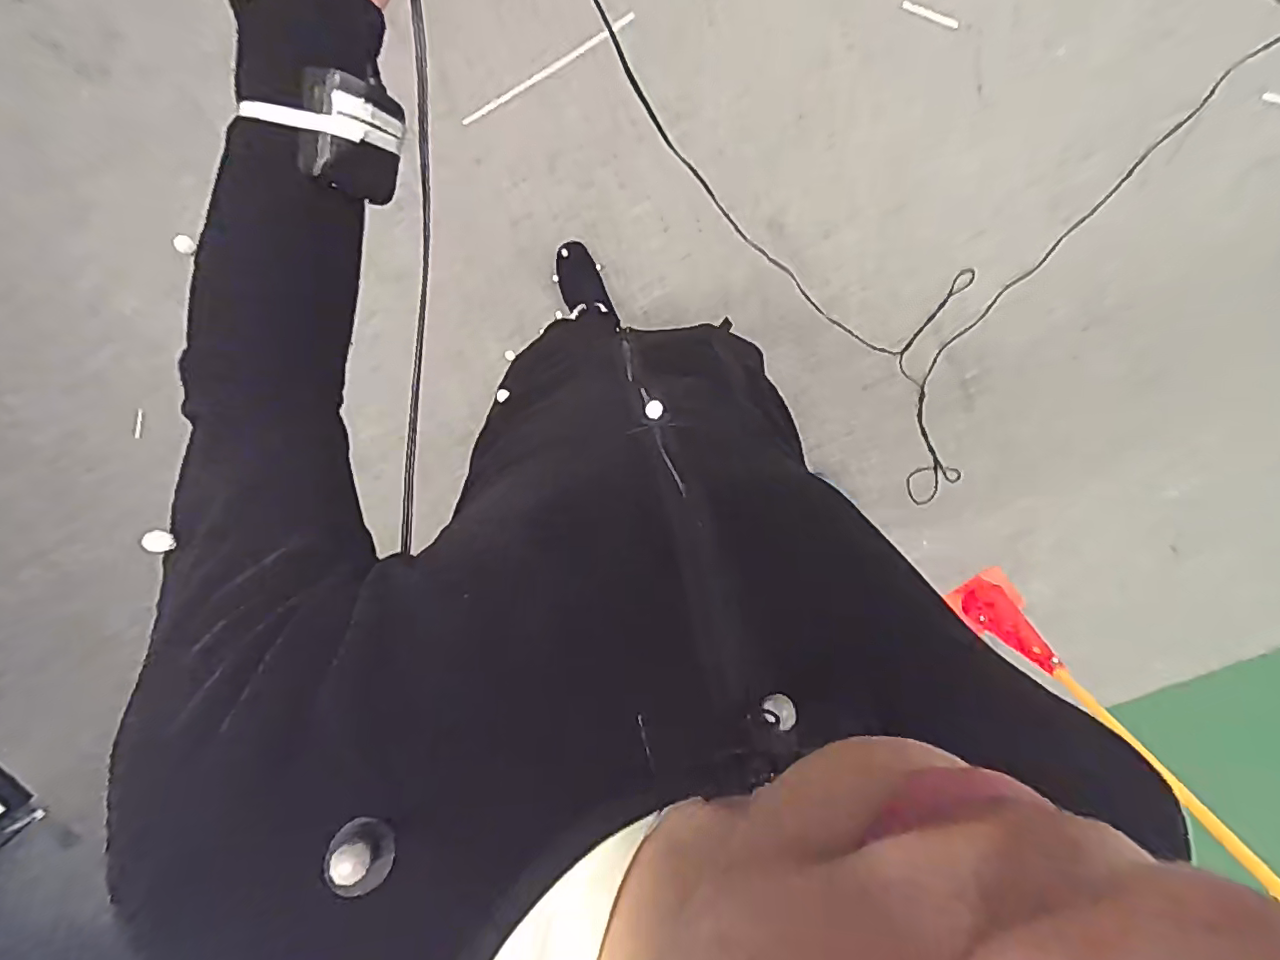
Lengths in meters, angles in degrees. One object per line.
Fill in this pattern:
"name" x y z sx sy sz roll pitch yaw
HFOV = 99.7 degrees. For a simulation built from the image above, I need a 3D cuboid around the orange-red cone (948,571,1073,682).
"orange-red cone" 1.124 0.459 1.589 0.199 0.360 0.198 -39 105 12
